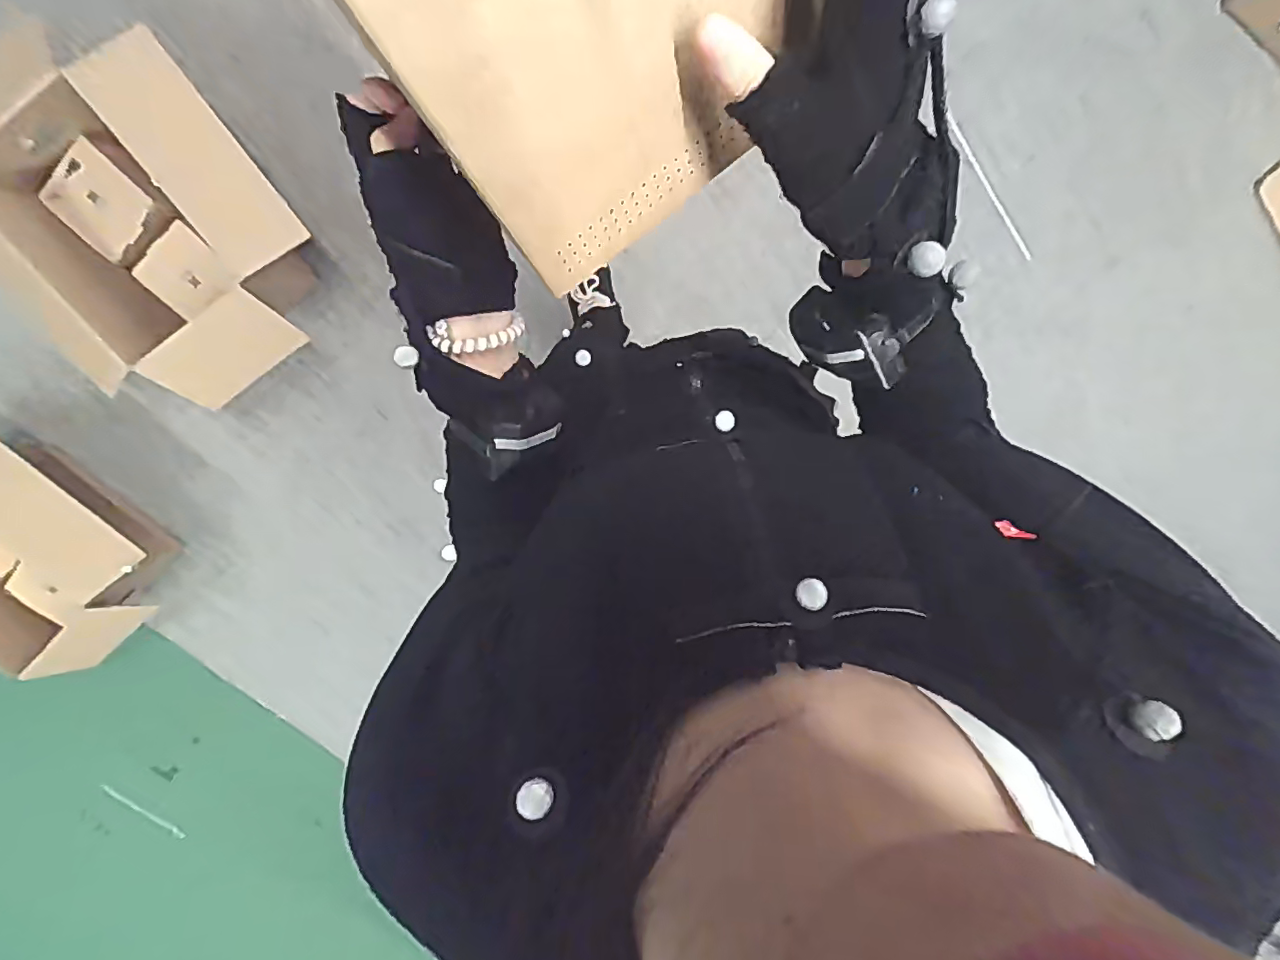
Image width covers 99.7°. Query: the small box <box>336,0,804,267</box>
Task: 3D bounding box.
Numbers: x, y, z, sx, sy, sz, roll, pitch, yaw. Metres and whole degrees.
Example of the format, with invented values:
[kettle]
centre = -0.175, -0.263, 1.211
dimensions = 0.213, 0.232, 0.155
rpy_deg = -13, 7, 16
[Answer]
[small box]
centre = -0.042, -0.236, 0.237
dimensions = 0.179, 0.176, 0.168
rpy_deg = -36, 68, 4
